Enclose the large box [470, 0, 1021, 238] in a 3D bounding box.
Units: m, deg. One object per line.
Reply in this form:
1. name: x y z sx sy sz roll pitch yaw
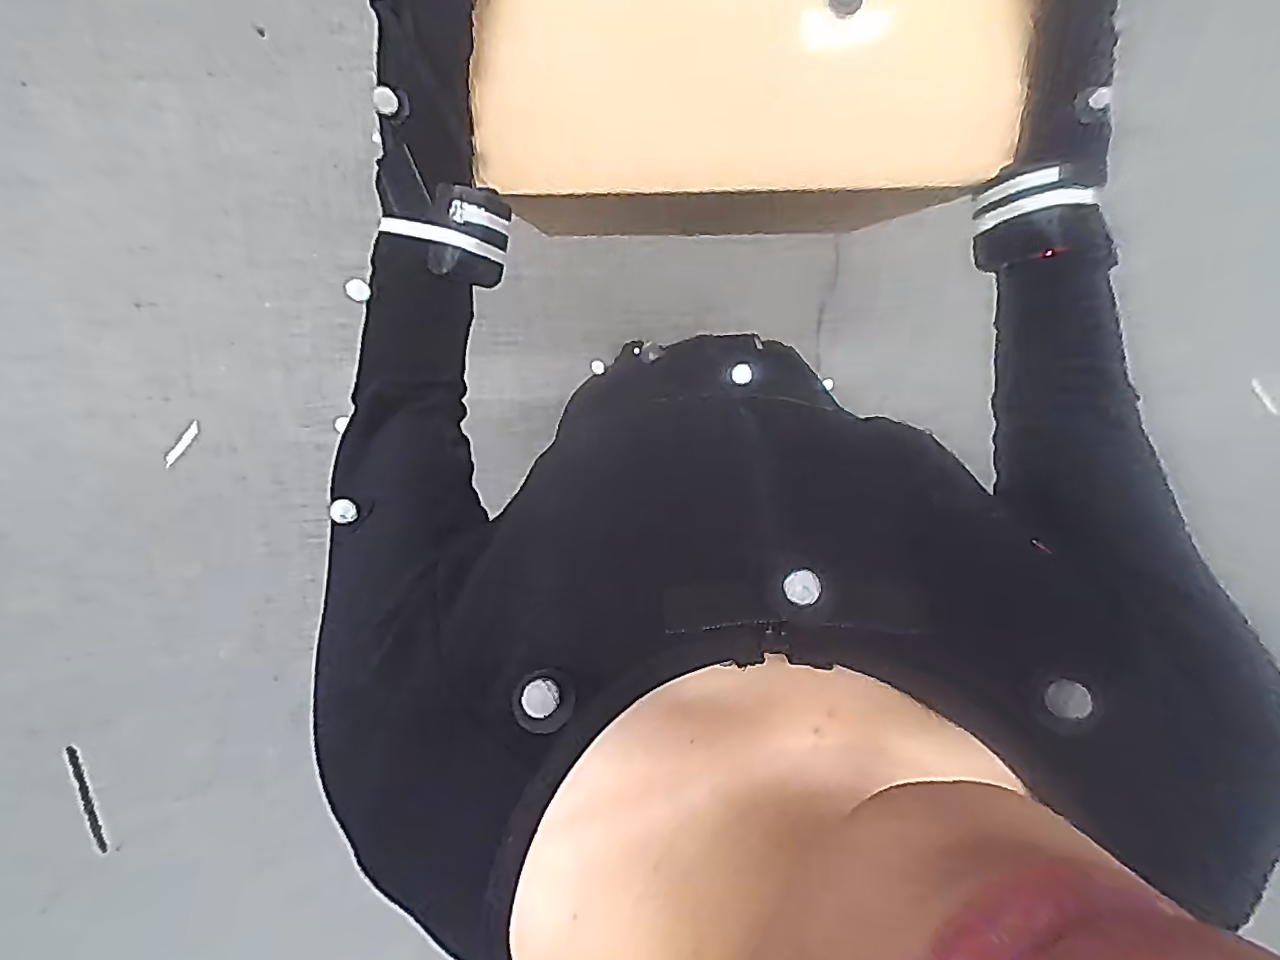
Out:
1. large box: 0.072 -0.423 0.518 0.408 0.320 0.320 -1 108 0
